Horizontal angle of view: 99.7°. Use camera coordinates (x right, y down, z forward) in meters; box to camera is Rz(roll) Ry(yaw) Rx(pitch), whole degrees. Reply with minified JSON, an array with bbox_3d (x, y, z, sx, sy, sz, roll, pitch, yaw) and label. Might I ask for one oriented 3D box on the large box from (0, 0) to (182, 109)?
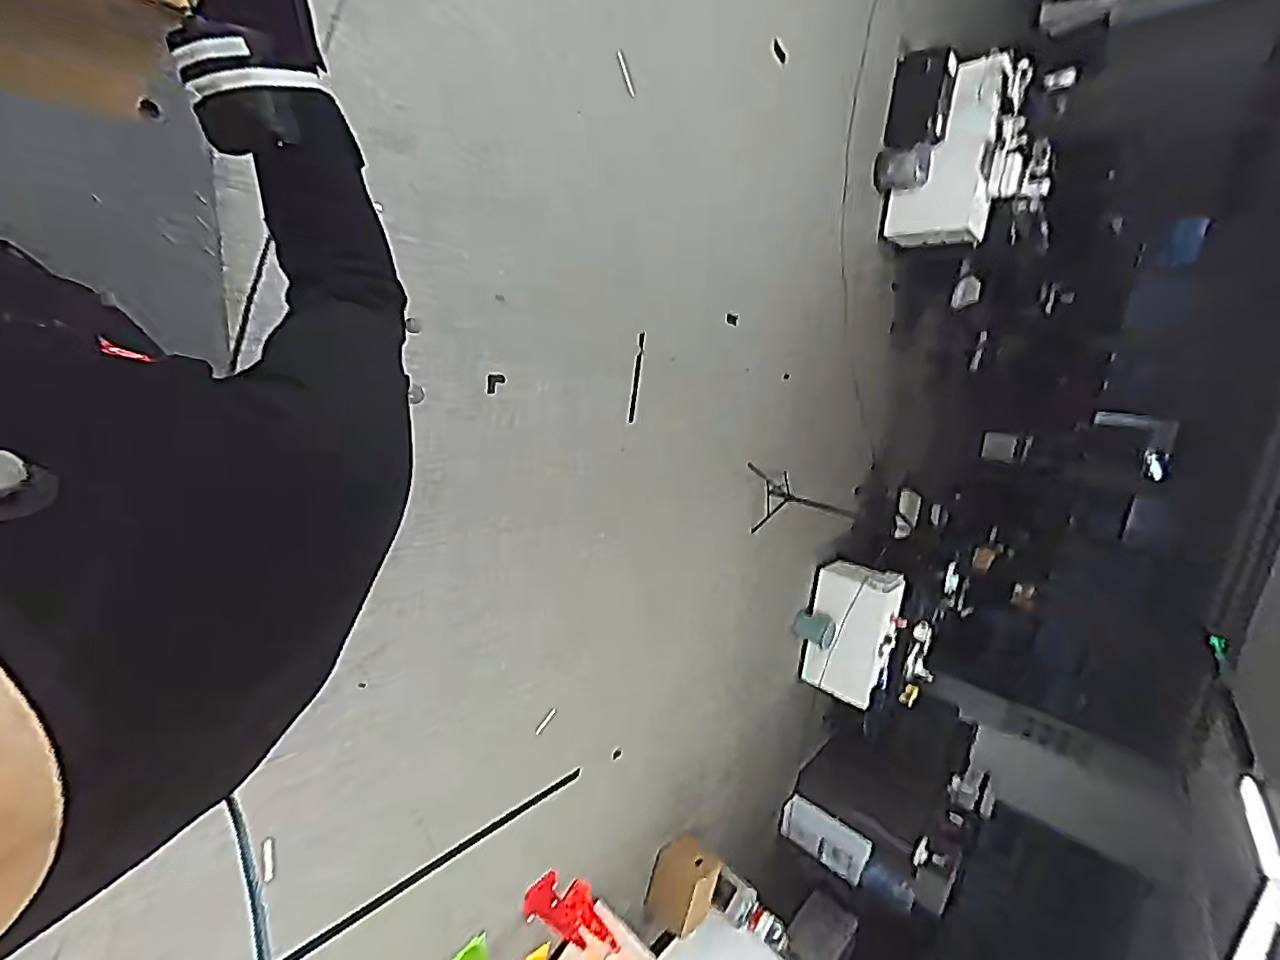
[{"bbox_3d":[-0.520,-0.420,0.242,0.408,0.320,0.320,-18,117,-44],"label":"large box"}]
